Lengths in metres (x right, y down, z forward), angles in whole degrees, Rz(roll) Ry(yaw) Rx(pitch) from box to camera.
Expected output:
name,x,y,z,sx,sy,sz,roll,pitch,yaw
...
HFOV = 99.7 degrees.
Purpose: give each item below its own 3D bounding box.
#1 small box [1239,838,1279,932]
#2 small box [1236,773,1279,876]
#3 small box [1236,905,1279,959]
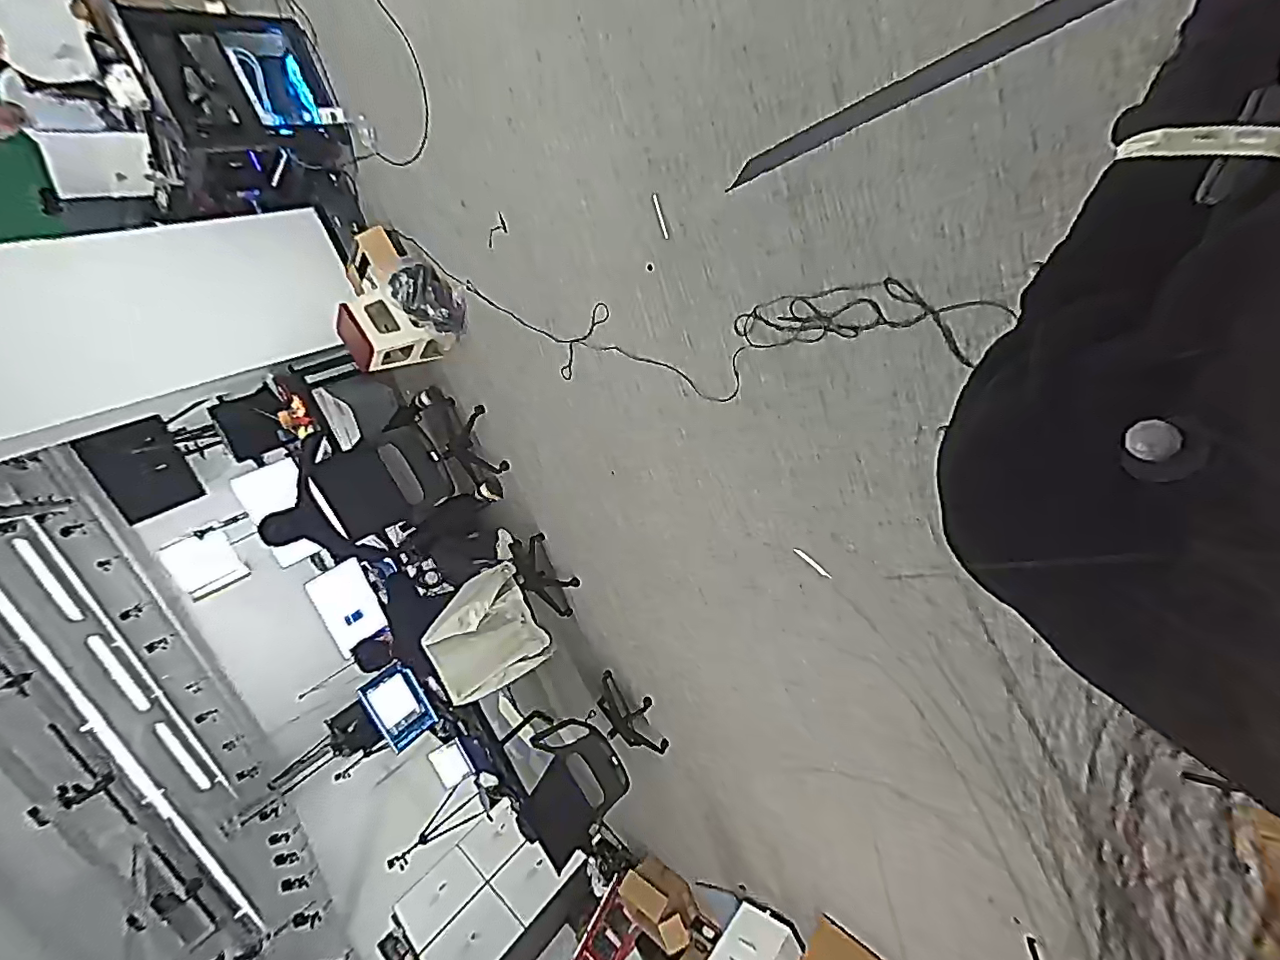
name,x,y,z,sx,sy,sz,roll,pitch,yaw
small box,1.267,0.826,1.012,0.179,0.176,0.168,9,121,44
small box,1.371,0.748,1.108,0.179,0.176,0.168,12,123,42
small box,1.149,0.894,0.919,0.168,0.176,0.179,7,120,43
